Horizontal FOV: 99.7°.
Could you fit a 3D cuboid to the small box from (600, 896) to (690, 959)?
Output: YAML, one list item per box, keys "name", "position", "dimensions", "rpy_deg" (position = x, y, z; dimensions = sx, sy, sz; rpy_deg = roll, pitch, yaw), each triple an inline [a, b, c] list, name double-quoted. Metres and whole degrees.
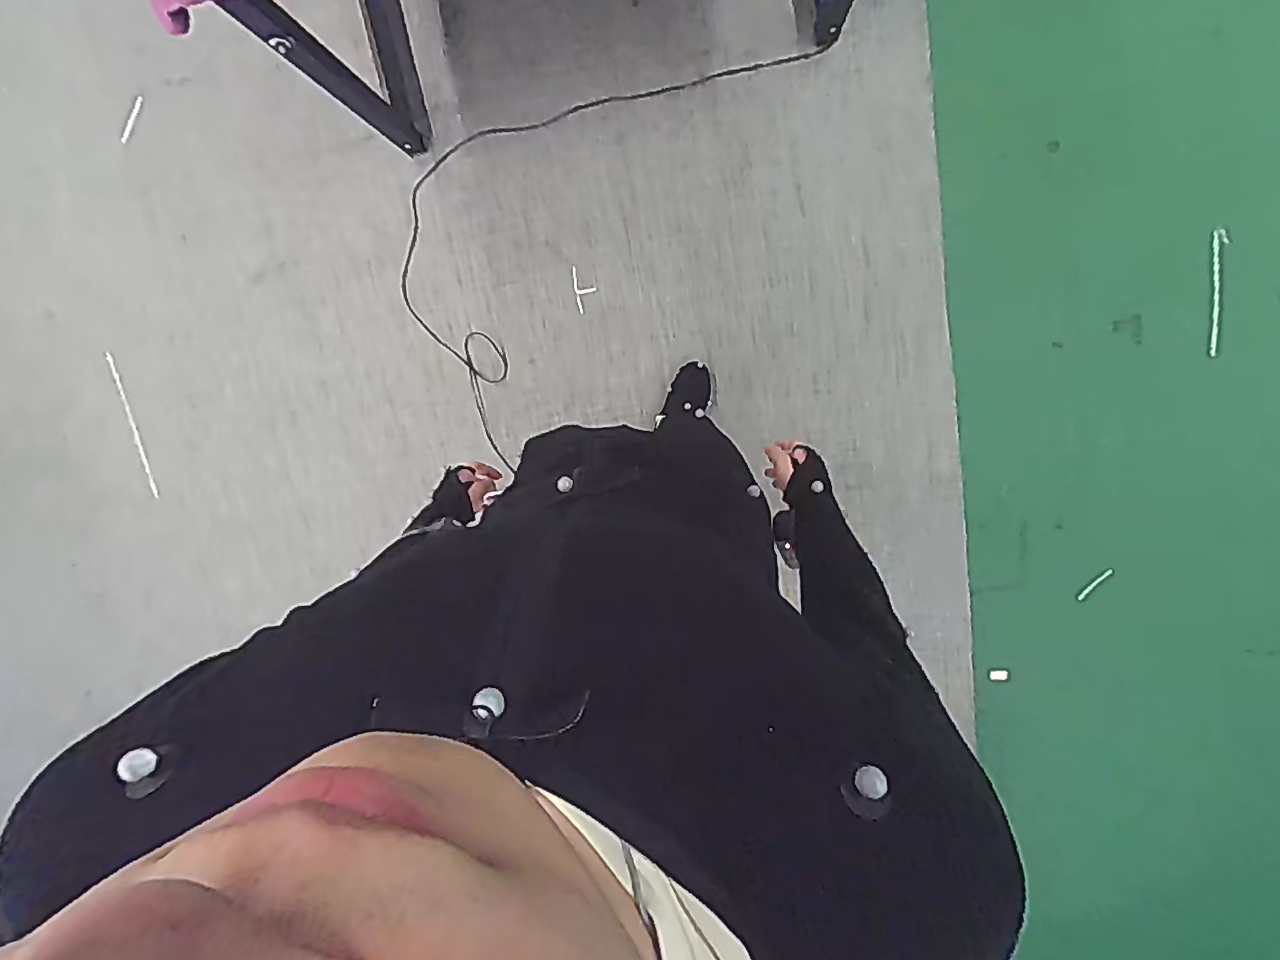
- name: "small box"
  position: [0.015, 1.019, 1.139]
  dimensions: [0.179, 0.176, 0.168]
  rpy_deg: [-6, 99, 7]
